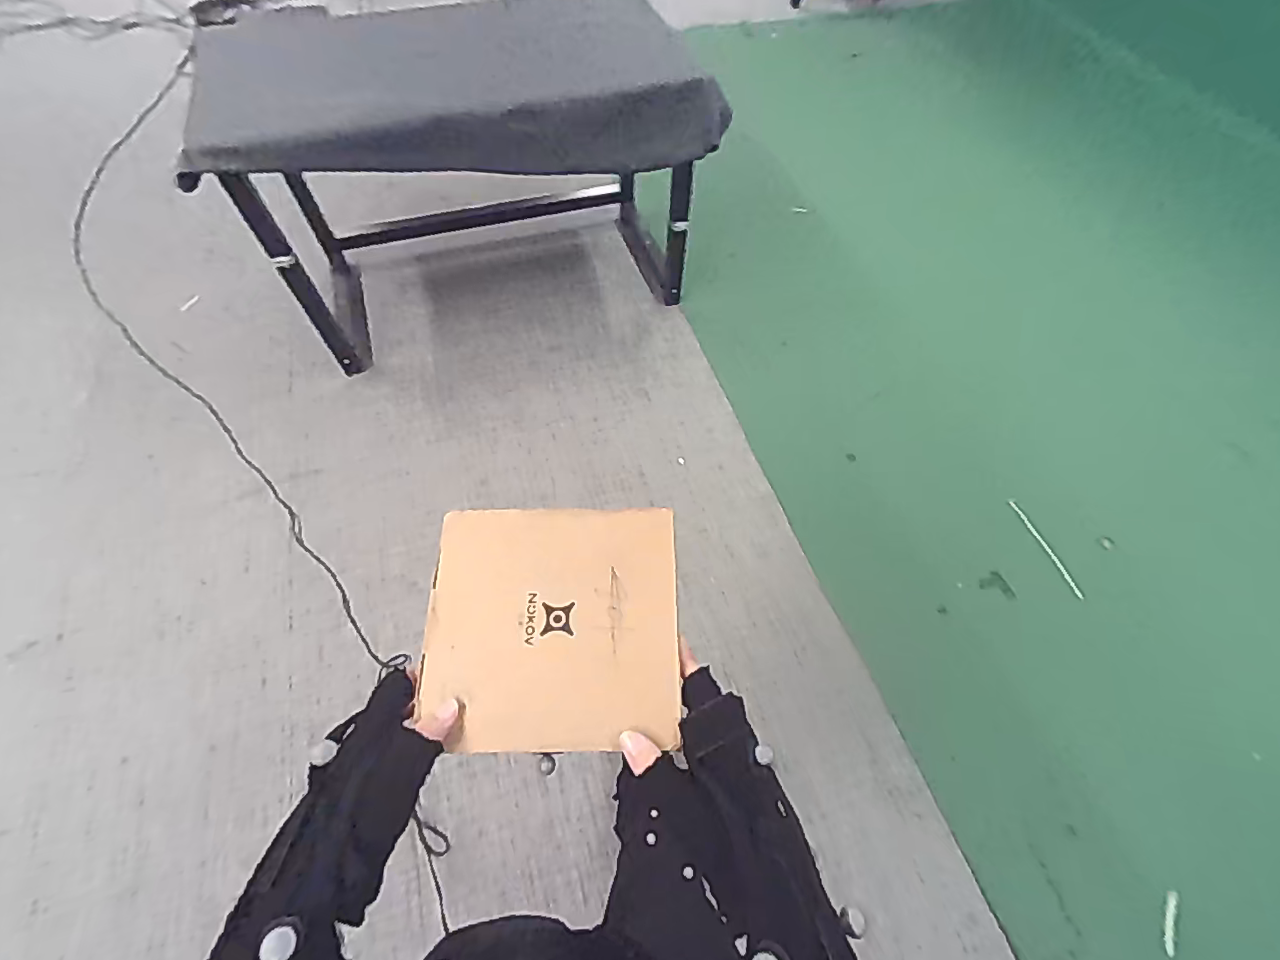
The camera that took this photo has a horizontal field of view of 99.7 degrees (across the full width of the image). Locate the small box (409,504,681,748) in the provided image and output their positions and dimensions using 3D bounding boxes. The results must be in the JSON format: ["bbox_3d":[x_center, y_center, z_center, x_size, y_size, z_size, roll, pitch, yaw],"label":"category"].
[{"bbox_3d":[-0.063,0.128,0.446,0.179,0.176,0.168,-1,65,-2],"label":"small box"}]
